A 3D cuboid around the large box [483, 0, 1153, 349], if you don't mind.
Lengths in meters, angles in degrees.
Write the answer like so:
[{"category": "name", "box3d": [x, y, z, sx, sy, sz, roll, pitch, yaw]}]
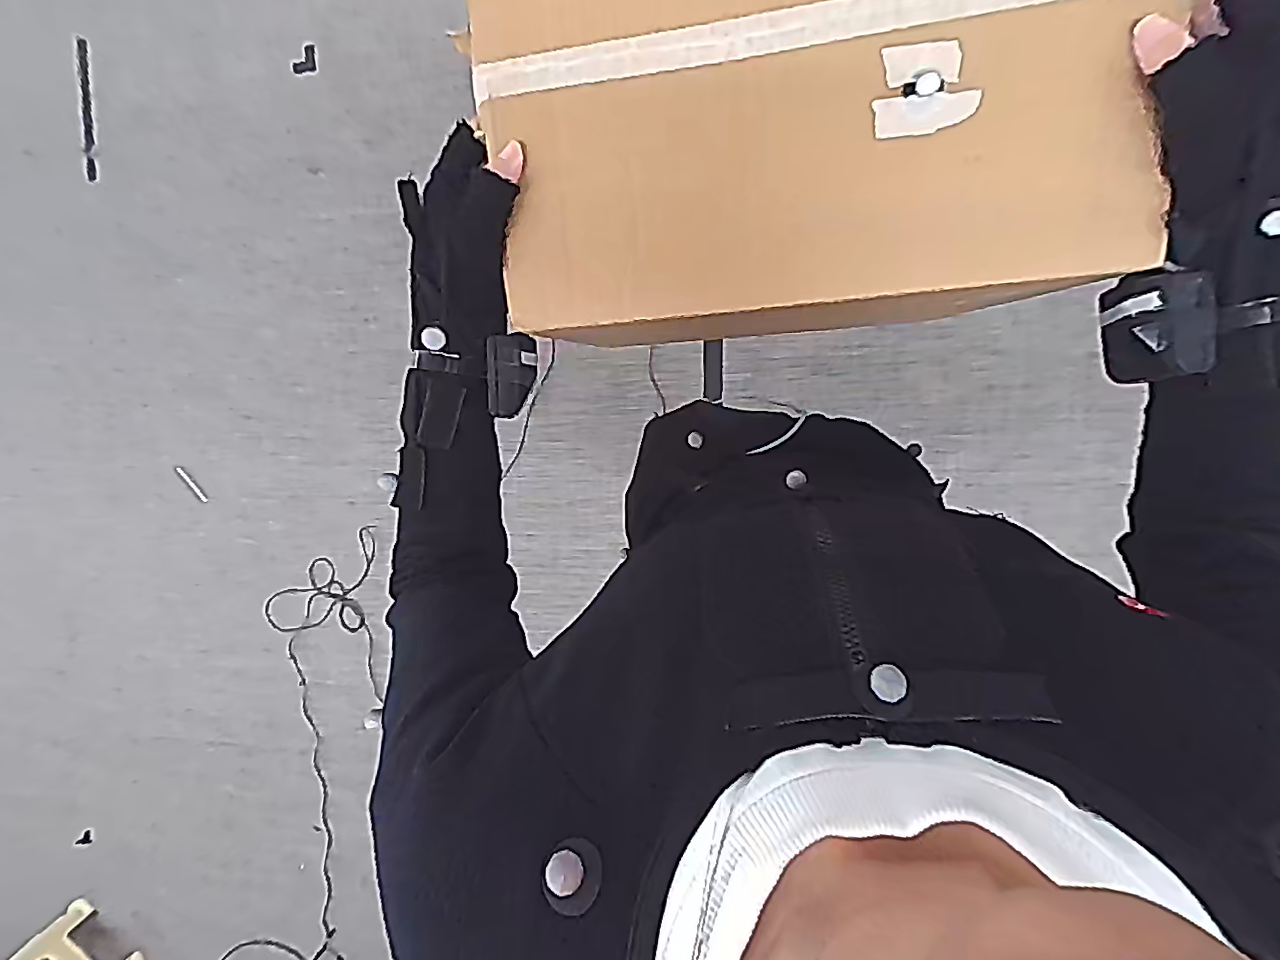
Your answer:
[{"category": "large box", "box3d": [0.114, -0.302, 0.482, 0.408, 0.320, 0.320, -4, 101, 8]}]
